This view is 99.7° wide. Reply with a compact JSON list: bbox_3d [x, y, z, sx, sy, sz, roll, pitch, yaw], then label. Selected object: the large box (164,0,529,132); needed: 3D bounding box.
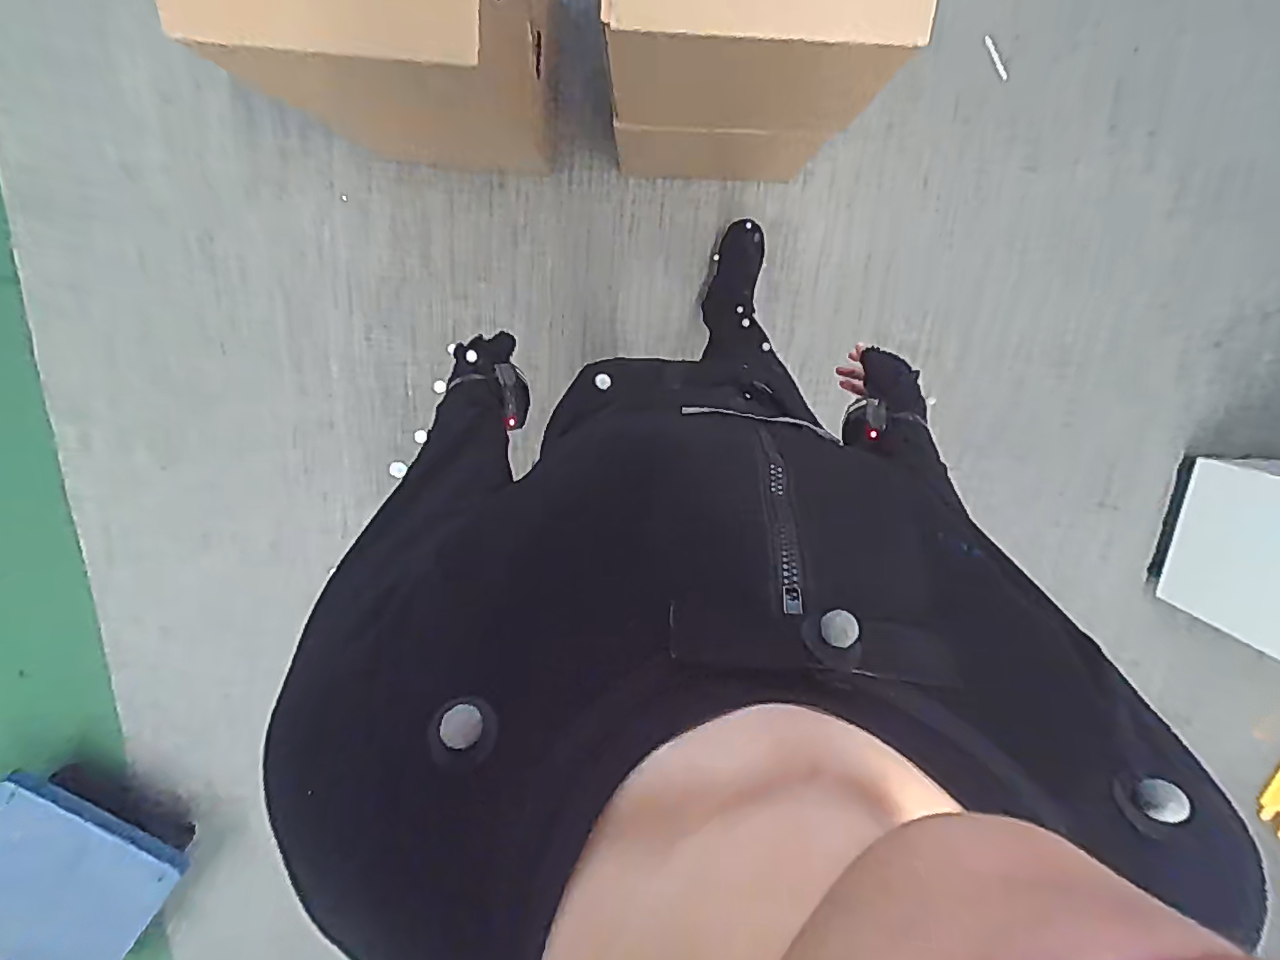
[{"bbox_3d":[-0.389,-0.742,0.787,0.408,0.320,0.320,4,107,-2],"label":"large box"}]
